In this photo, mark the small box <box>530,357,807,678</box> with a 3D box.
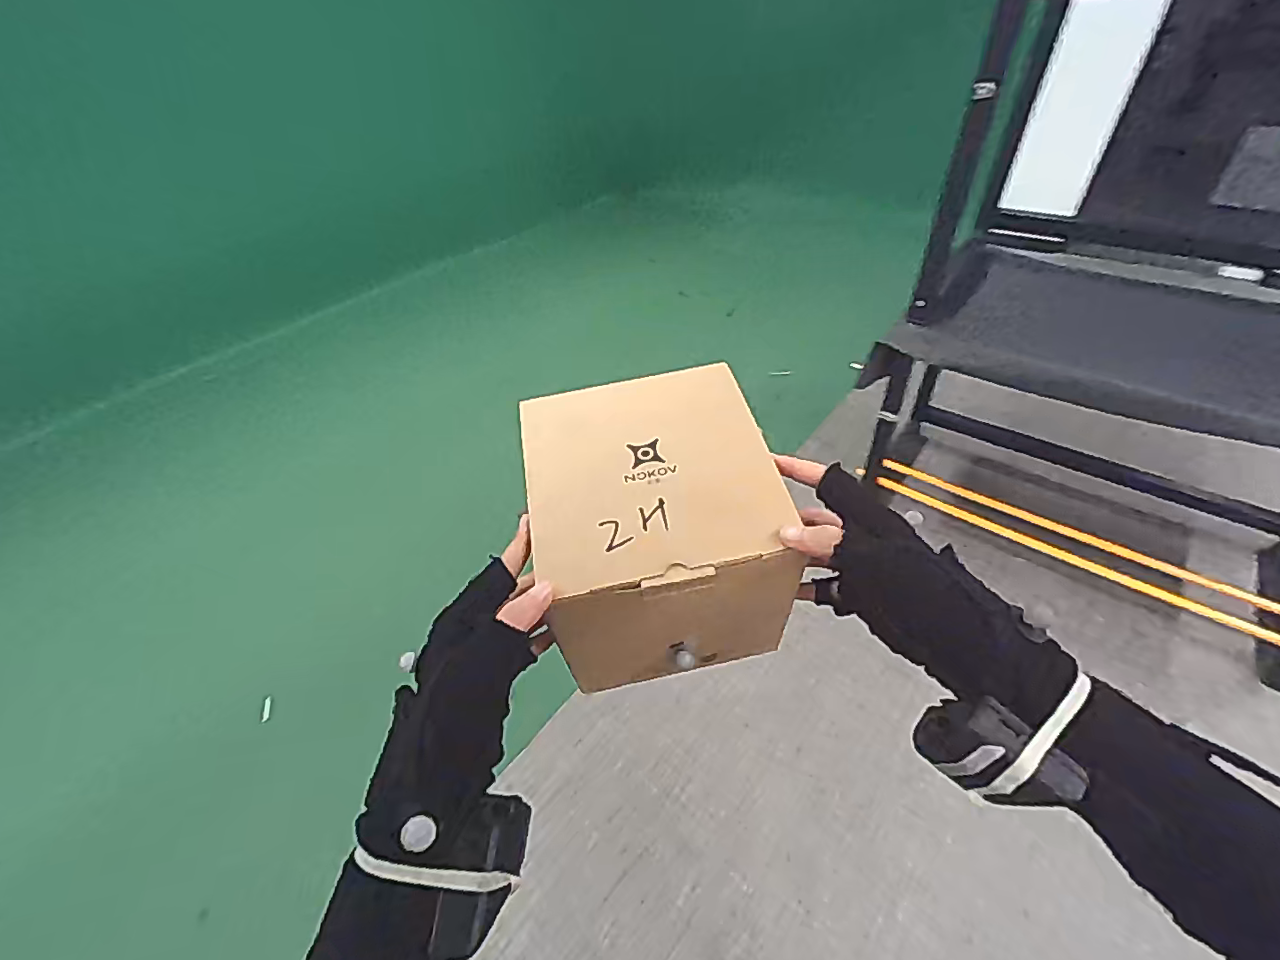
[{"bbox_3d":[0.013,0.032,0.432,0.168,0.176,0.179,-11,51,-2],"label":"small box"}]
